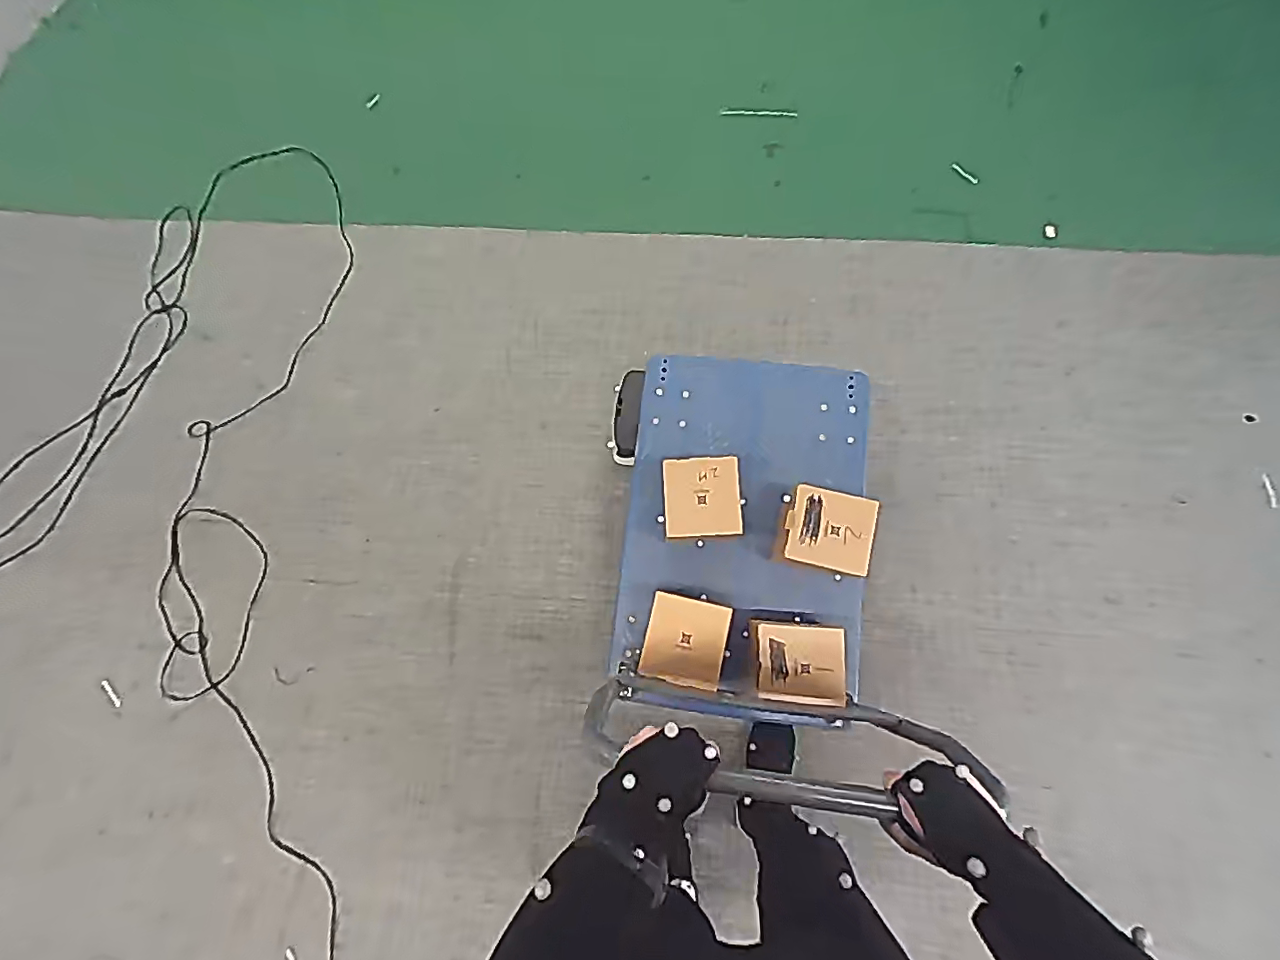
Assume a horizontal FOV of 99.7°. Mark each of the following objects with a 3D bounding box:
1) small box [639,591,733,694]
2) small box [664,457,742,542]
[{"bbox_3d":[0.099,0.349,1.195,0.168,0.176,0.179,13,80,6],"label":"small box"},{"bbox_3d":[0.141,0.053,1.254,0.168,0.176,0.179,-2,78,2],"label":"small box"}]
